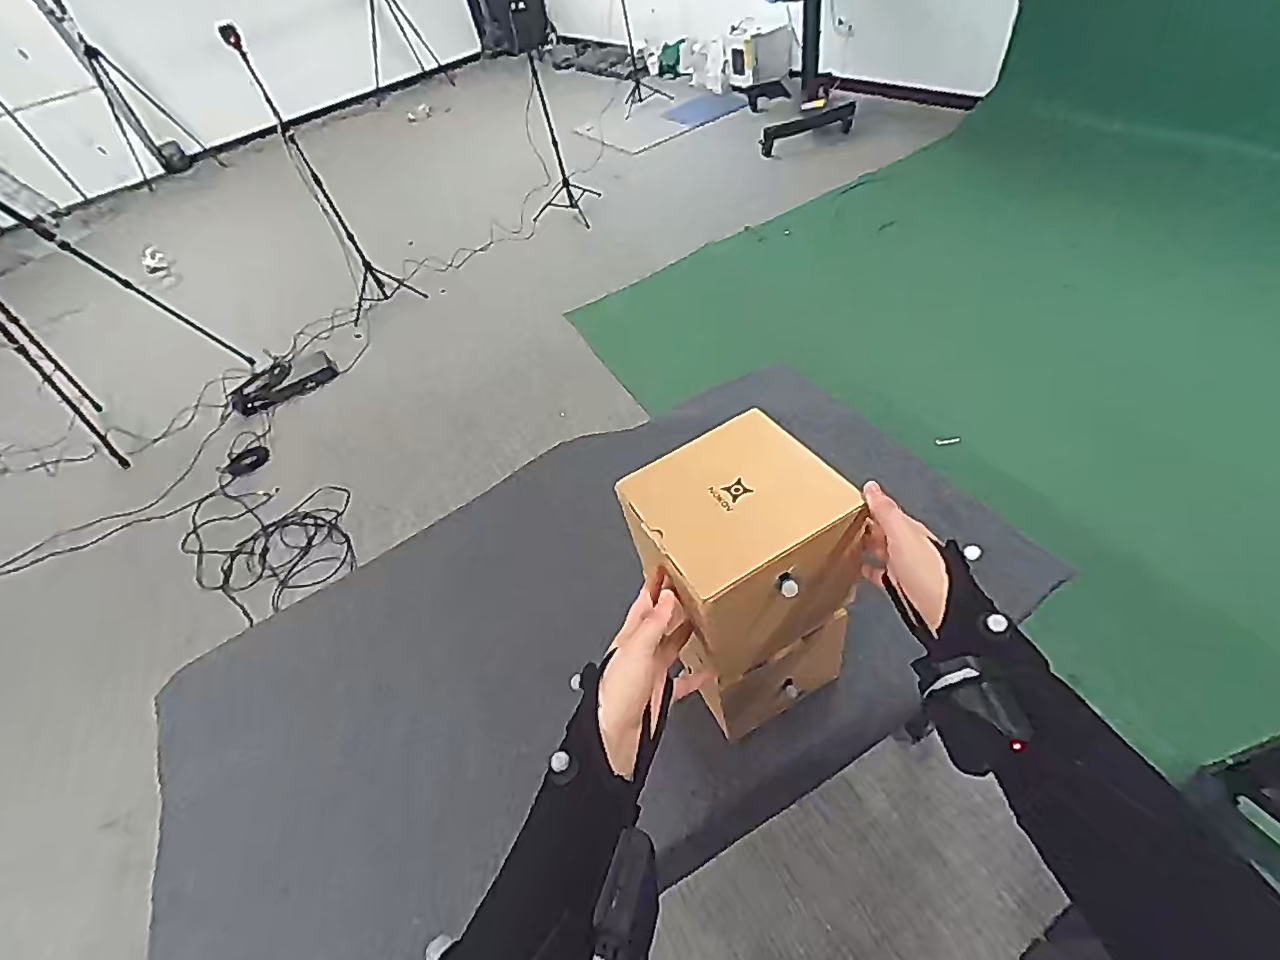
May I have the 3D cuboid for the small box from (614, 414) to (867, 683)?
[{"bbox_3d":[0.100,0.070,0.554,0.179,0.176,0.168,-30,47,-10],"label":"small box"}]

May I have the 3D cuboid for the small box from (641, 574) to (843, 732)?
[{"bbox_3d":[0.126,0.184,0.668,0.168,0.176,0.179,-28,47,-9],"label":"small box"}]
